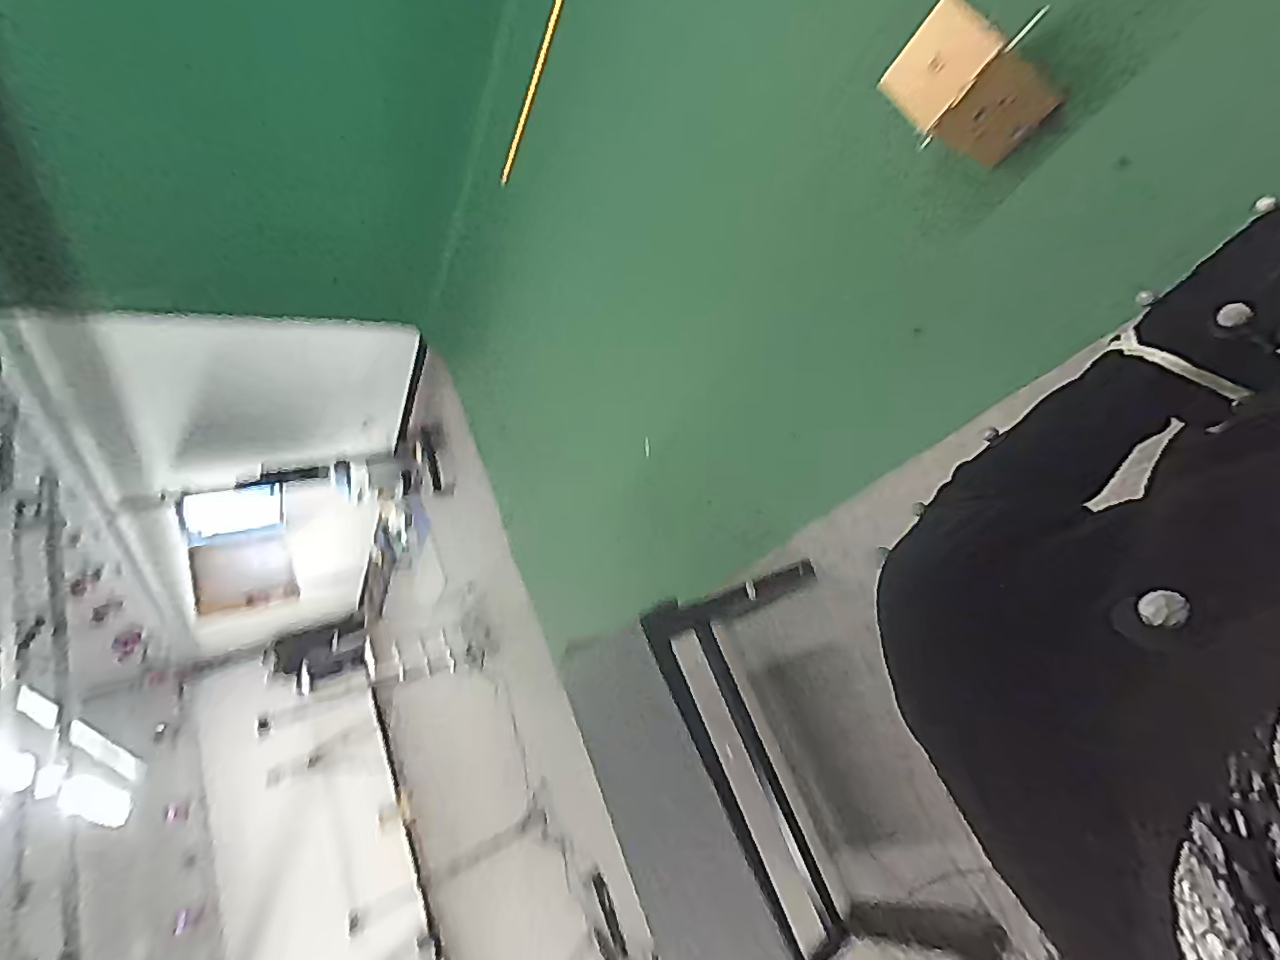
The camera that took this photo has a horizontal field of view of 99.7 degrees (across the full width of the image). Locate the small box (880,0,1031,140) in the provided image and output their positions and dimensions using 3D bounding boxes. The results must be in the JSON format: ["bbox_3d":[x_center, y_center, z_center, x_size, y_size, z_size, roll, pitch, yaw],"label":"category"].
[{"bbox_3d":[0.632,-0.824,1.087,0.168,0.176,0.179,-48,61,46],"label":"small box"}]

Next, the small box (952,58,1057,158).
[{"bbox_3d":[0.759,-0.845,1.186,0.168,0.176,0.179,-47,62,47],"label":"small box"}]
